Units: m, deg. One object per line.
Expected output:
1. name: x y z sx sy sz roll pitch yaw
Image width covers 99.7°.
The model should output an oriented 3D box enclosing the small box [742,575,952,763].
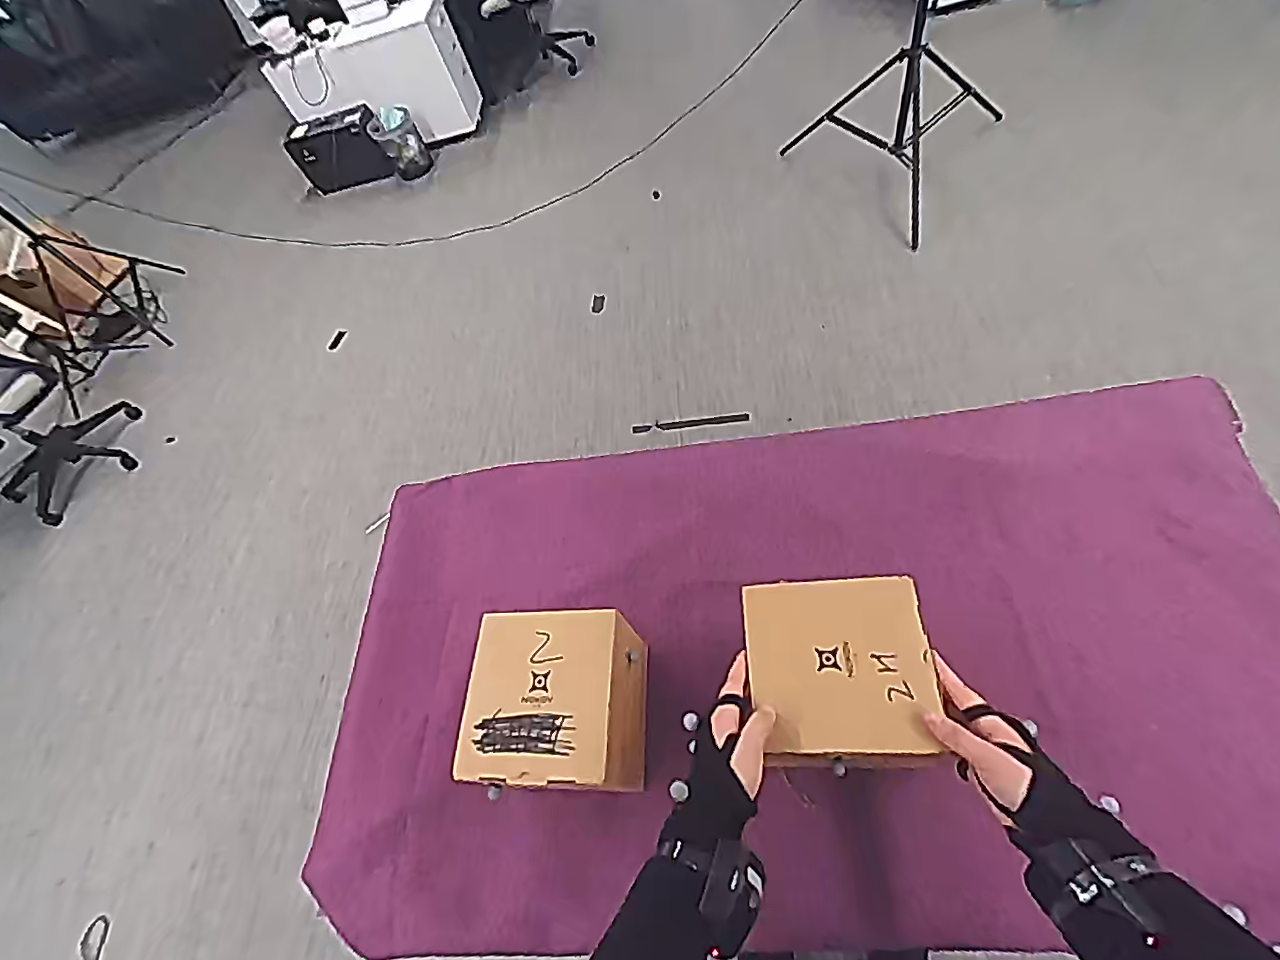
1. small box: 0.212 0.215 0.596 0.179 0.176 0.168 -5 59 12
